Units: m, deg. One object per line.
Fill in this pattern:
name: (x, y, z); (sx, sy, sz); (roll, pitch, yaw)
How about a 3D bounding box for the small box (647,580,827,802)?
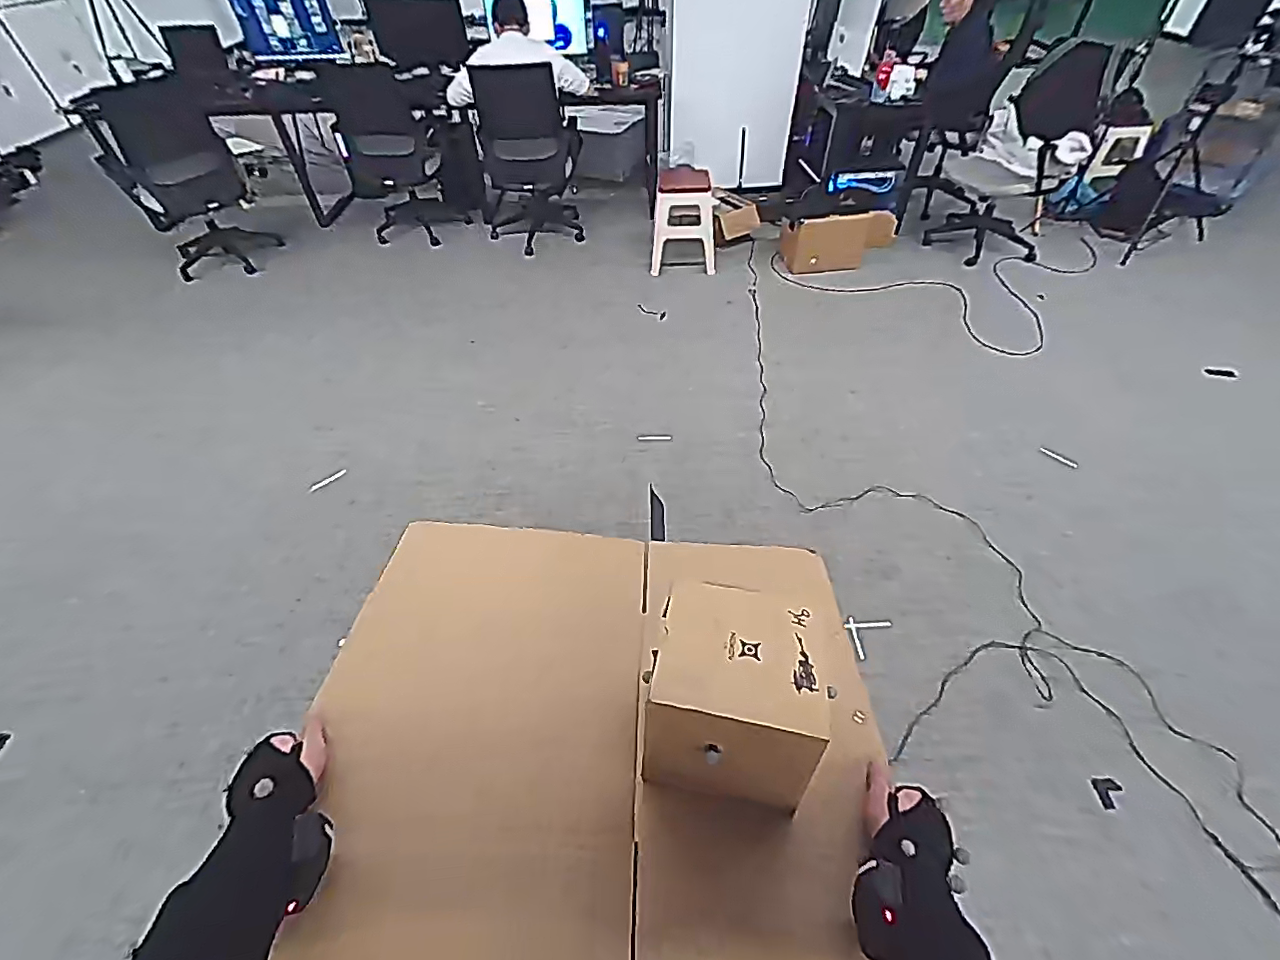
small box: (0.108, 0.243, 0.630); (0.179, 0.176, 0.168); (8, 39, 9)
